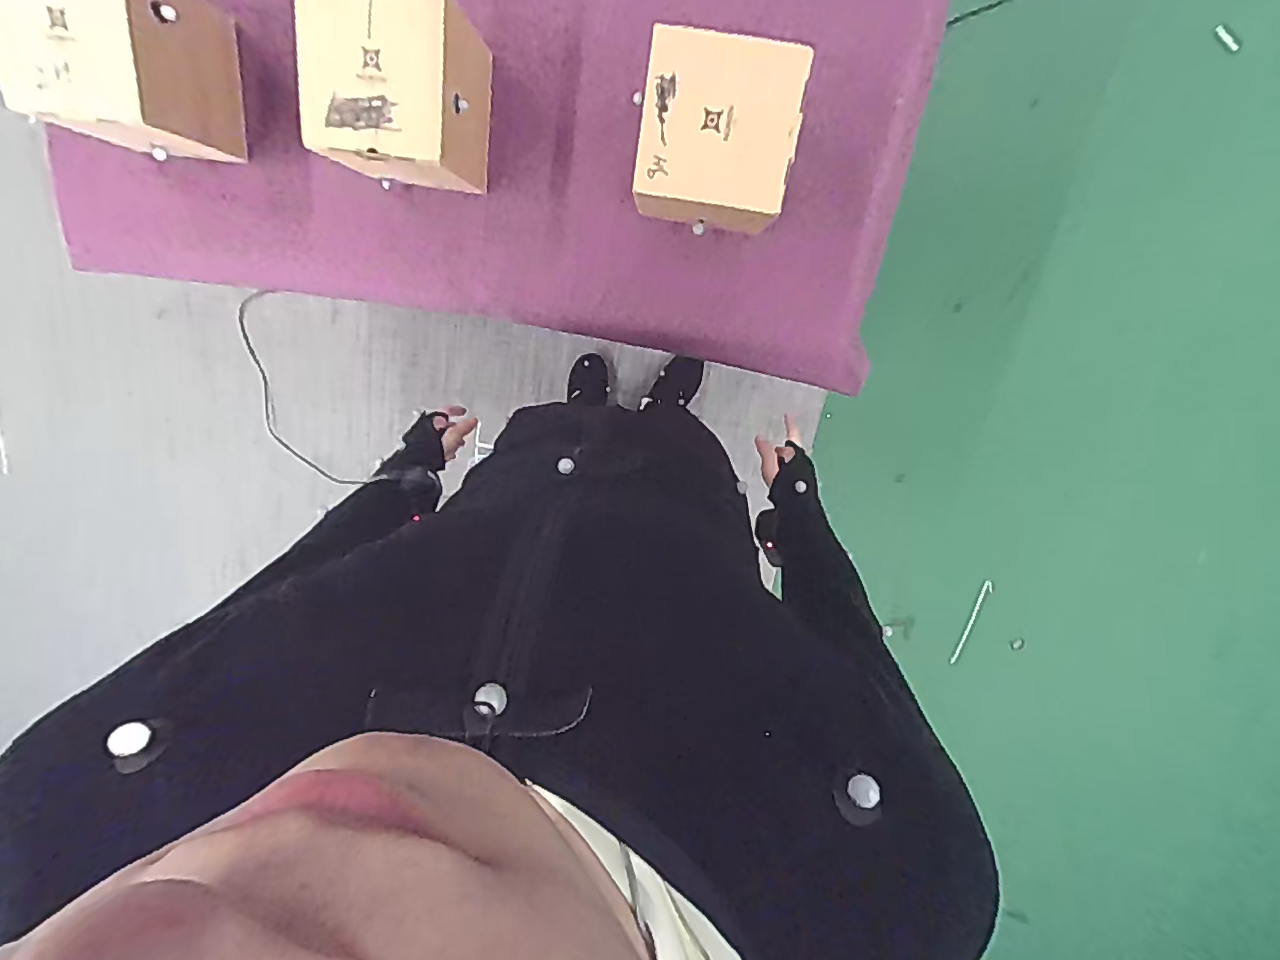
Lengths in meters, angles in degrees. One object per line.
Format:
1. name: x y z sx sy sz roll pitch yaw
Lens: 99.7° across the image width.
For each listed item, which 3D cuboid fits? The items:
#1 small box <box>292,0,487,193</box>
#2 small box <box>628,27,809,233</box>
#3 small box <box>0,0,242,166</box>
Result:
1. small box: -0.299 -0.478 0.677 0.168 0.176 0.179 8 106 0
2. small box: 0.087 -0.417 0.677 0.179 0.176 0.168 10 107 0
3. small box: -0.643 -0.522 0.678 0.168 0.176 0.179 7 107 1
